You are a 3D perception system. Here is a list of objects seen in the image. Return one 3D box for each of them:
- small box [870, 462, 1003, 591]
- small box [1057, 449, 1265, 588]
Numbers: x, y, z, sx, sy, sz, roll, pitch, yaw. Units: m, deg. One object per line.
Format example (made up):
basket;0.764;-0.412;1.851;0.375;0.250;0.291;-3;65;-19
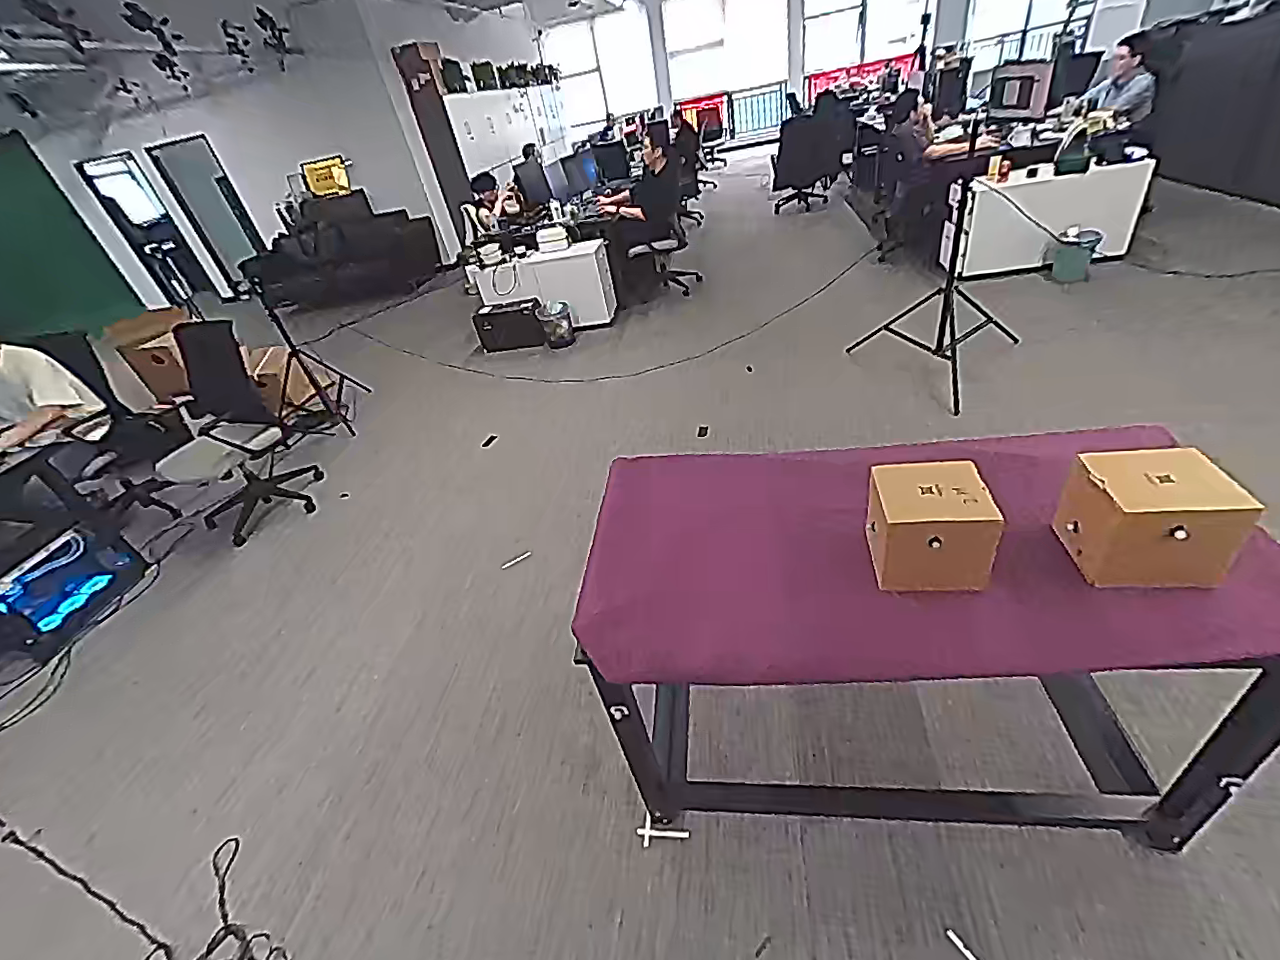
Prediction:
small box;0.521;0.086;0.981;0.179;0.176;0.168;-2;37;14
small box;0.848;0.066;0.906;0.179;0.176;0.168;-3;35;15
